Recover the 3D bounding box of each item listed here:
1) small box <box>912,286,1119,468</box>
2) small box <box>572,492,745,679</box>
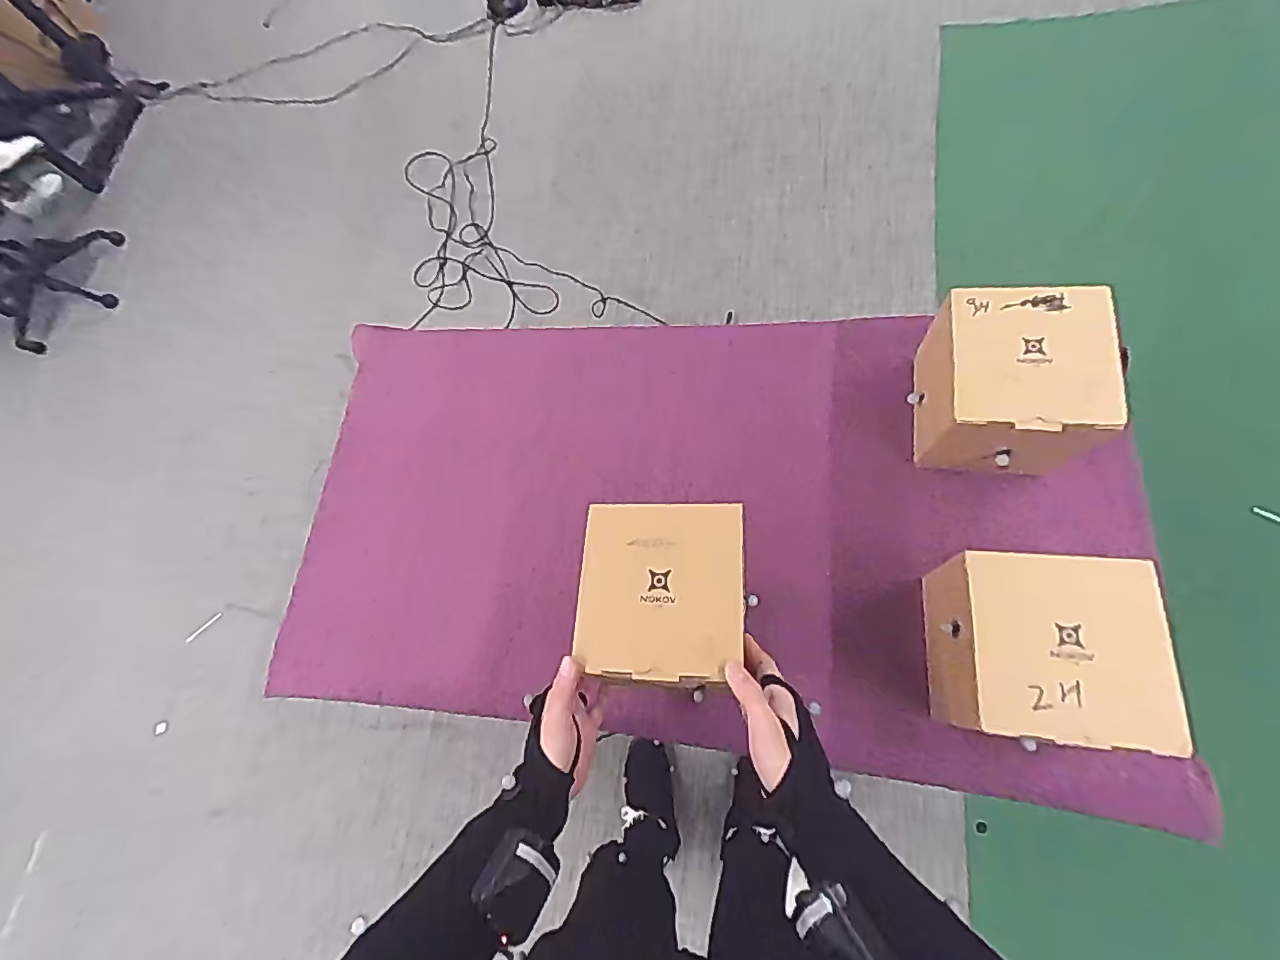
[{"bbox_3d":[0.456,-0.121,0.684,0.168,0.176,0.179,4,76,13],"label":"small box"},{"bbox_3d":[0.034,0.125,0.614,0.168,0.176,0.179,0,66,11],"label":"small box"}]
